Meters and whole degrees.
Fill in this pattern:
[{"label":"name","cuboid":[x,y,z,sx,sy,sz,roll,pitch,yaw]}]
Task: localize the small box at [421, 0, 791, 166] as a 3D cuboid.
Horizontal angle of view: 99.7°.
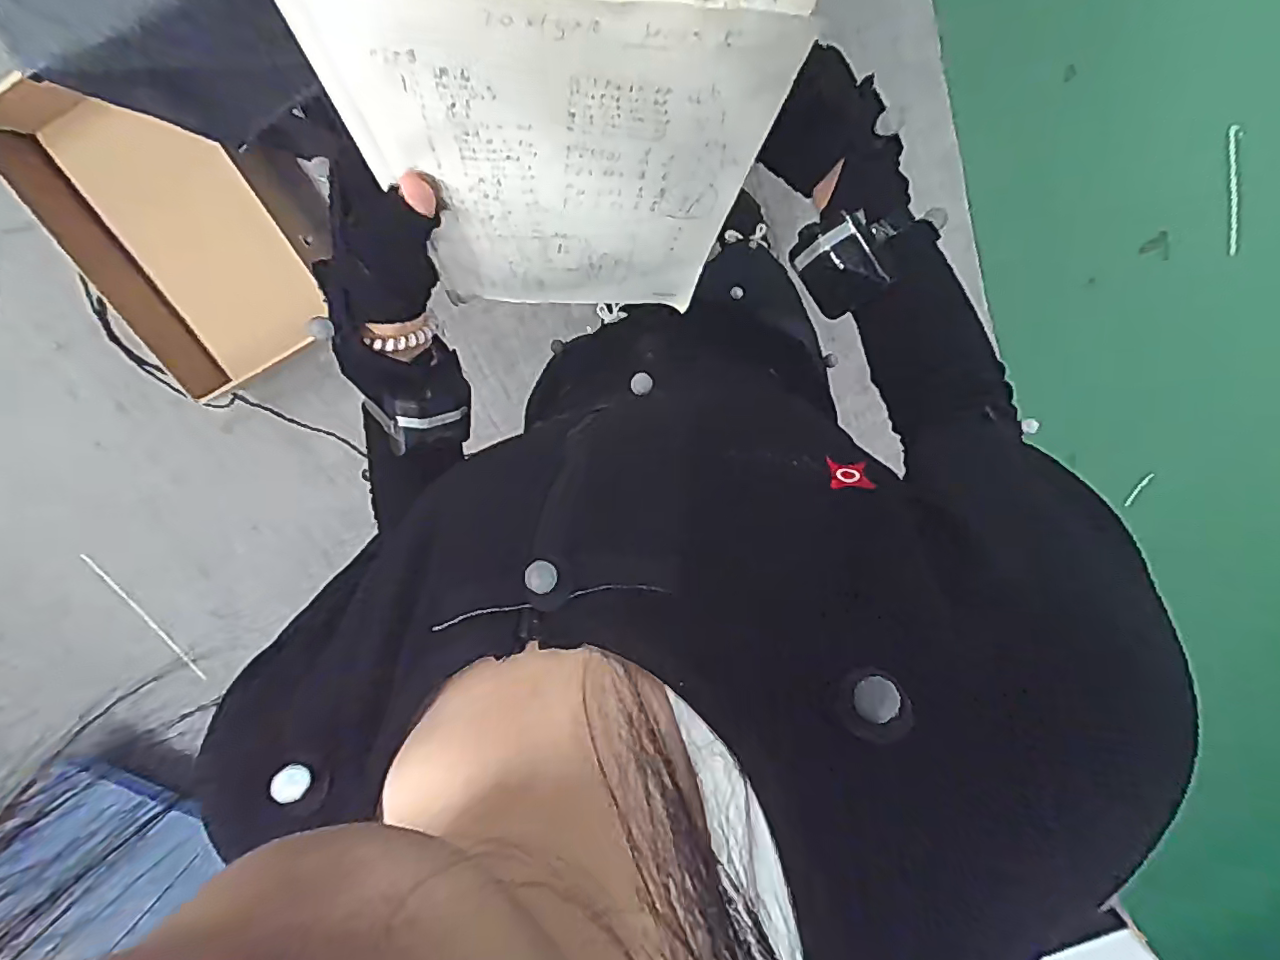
[{"label":"small box","cuboid":[-0.025,-0.291,0.312,0.179,0.176,0.168,-10,119,2]}]
